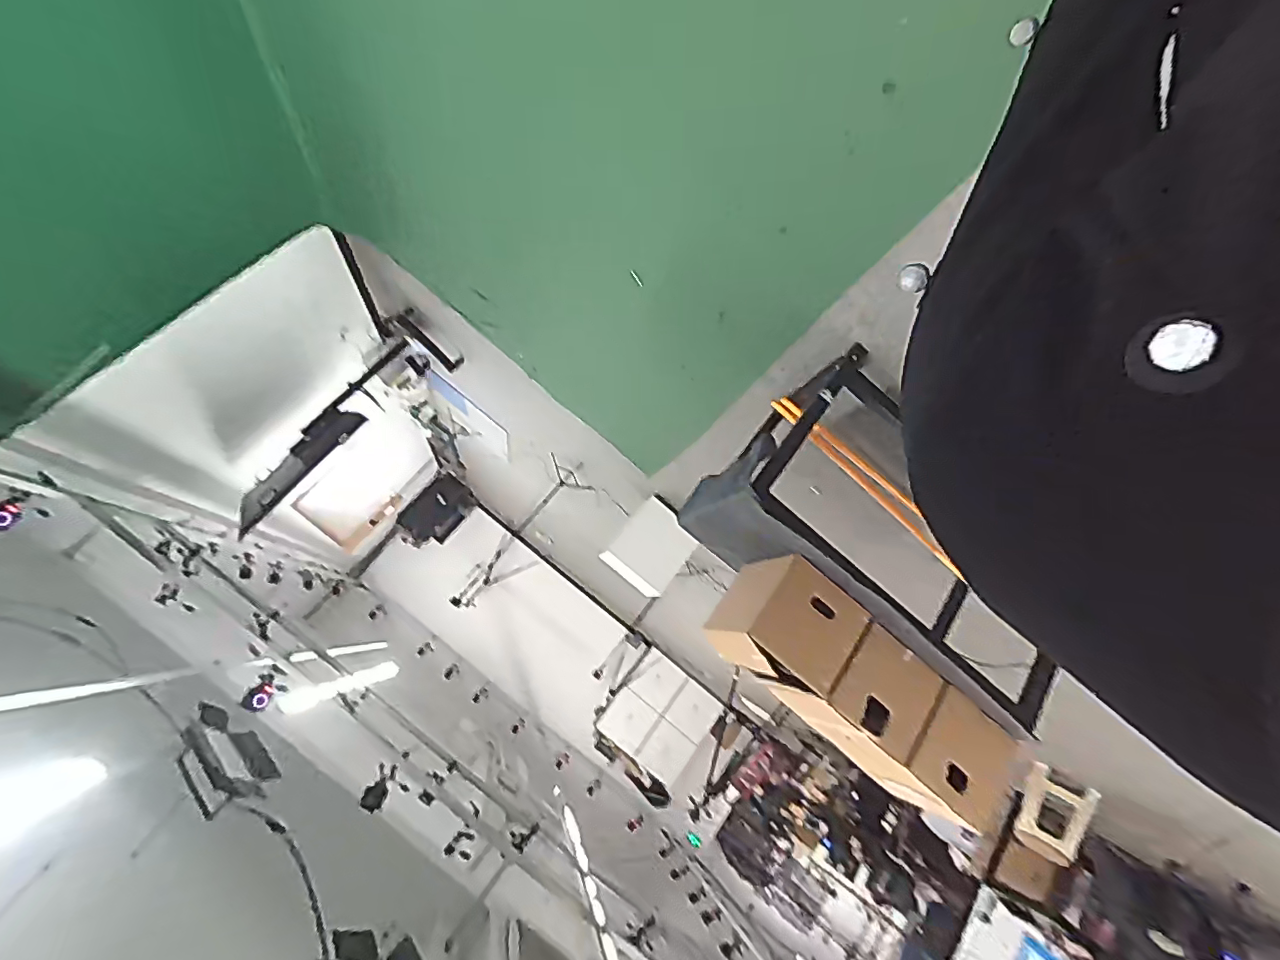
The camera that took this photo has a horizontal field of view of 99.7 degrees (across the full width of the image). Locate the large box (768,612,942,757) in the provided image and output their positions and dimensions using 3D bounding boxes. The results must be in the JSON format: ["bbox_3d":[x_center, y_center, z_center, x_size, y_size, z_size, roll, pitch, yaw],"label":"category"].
[{"bbox_3d":[0.712,0.673,1.839,0.320,0.320,0.408,40,159,-1],"label":"large box"}]
